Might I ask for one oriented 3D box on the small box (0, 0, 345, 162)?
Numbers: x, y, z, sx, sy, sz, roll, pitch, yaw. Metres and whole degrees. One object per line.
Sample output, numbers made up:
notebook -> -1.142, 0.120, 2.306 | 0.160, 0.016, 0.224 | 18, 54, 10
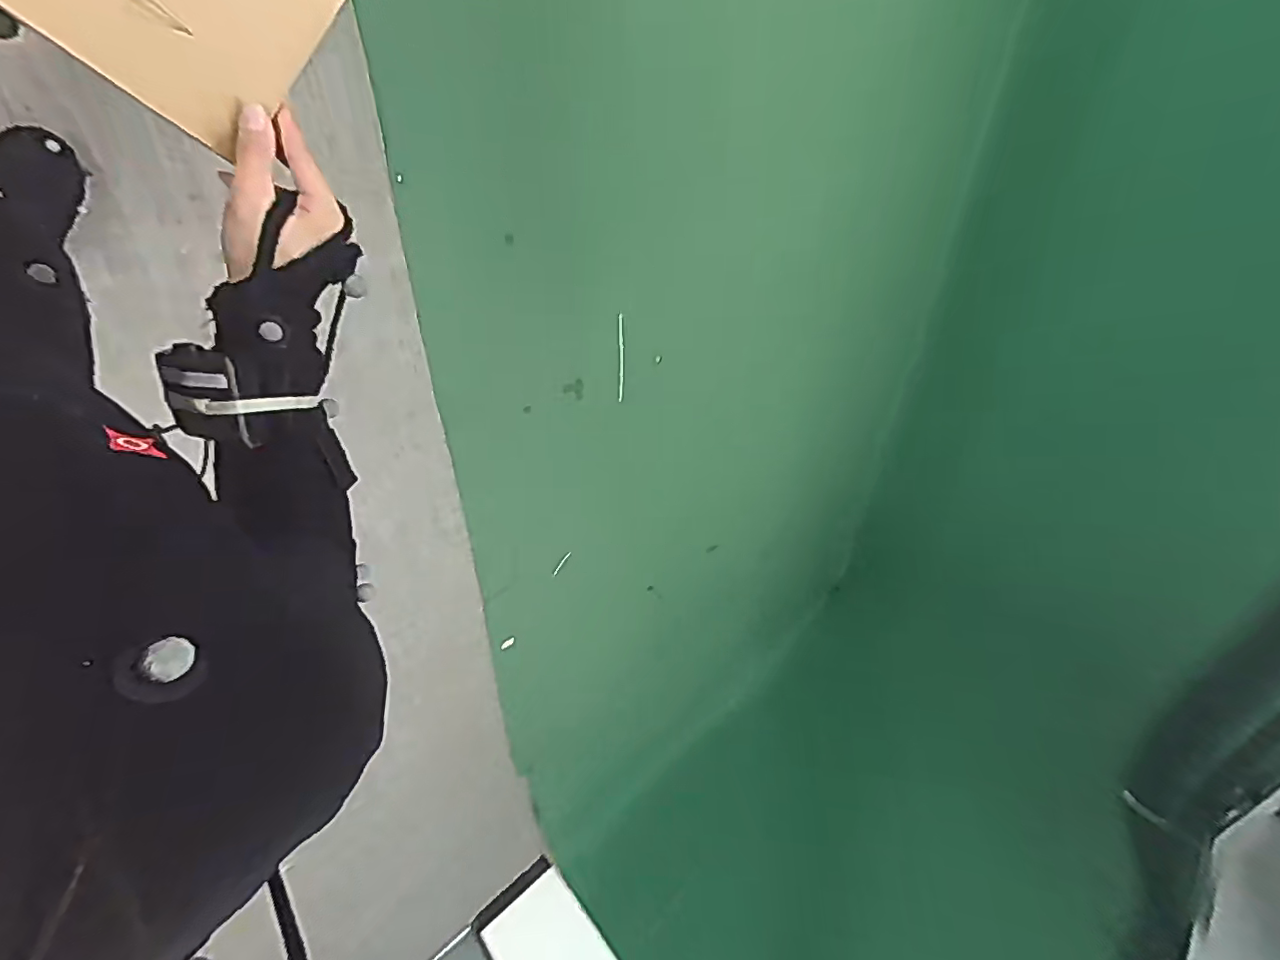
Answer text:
small box -> -0.284, -0.322, 0.295 | 0.179, 0.176, 0.168 | -56, 147, 4
